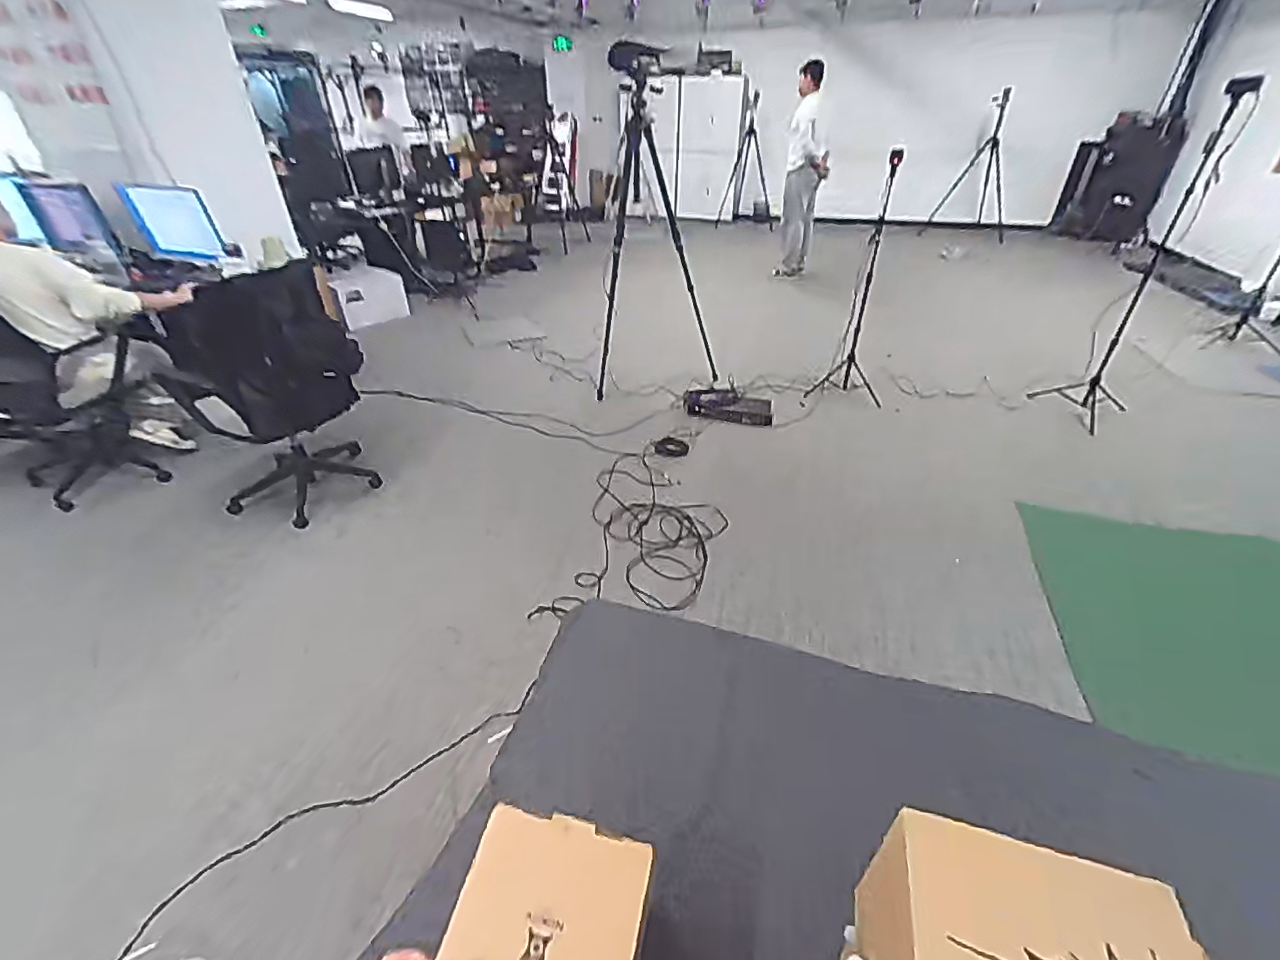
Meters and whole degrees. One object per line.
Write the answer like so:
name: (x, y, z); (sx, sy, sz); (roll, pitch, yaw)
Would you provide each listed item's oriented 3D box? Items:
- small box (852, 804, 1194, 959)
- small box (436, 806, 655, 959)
small box: (0.256, 0.374, 0.378); (0.179, 0.176, 0.168); (10, 35, 16)
small box: (-0.085, 0.454, 0.522); (0.168, 0.176, 0.179); (9, 45, 10)
